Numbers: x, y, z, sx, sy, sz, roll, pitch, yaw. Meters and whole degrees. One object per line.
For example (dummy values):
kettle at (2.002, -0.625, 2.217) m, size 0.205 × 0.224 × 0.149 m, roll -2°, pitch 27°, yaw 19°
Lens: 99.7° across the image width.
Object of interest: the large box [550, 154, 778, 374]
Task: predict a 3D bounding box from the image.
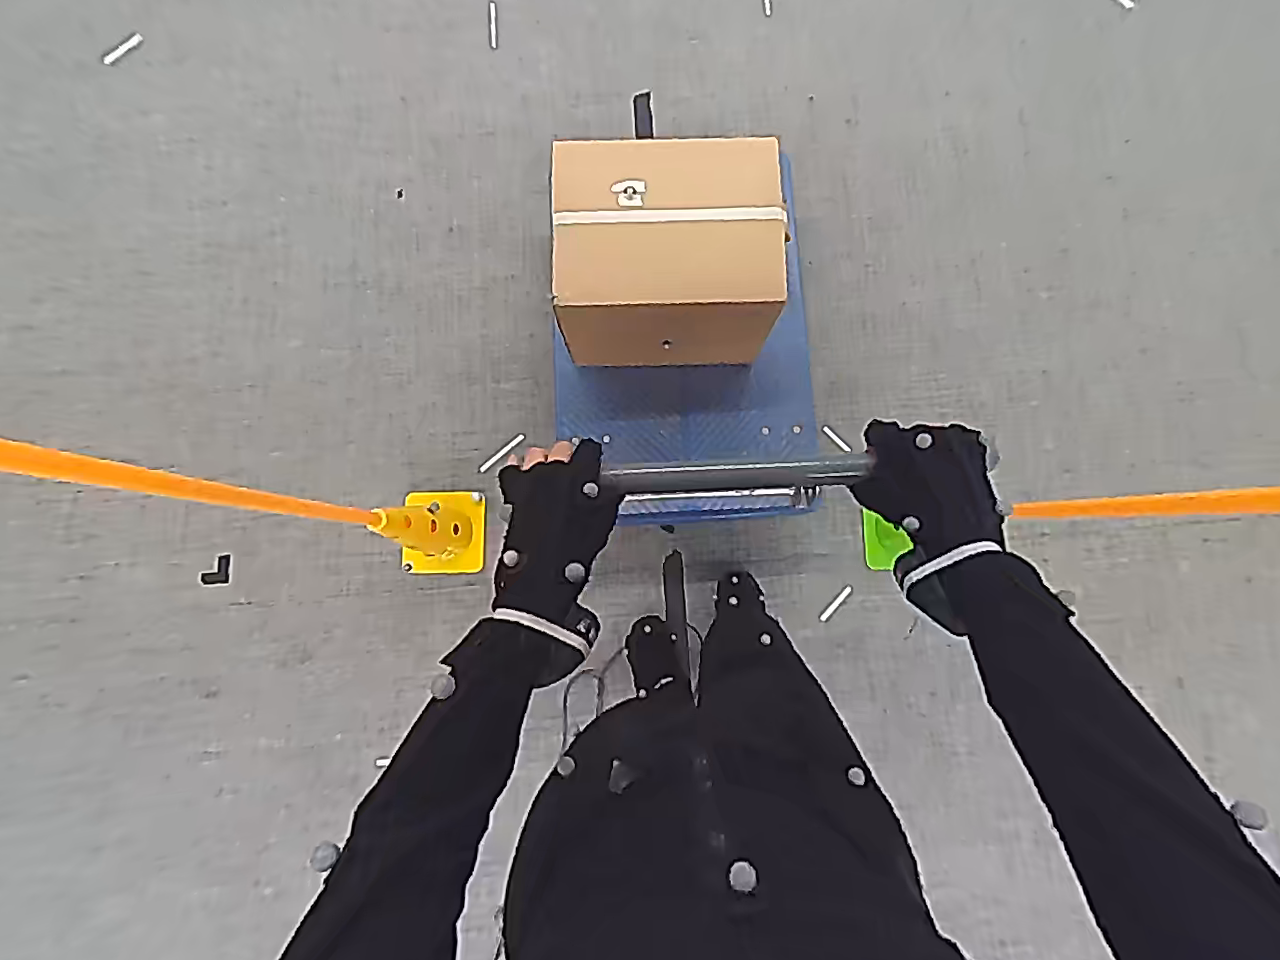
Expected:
large box at (0.044, -0.415, 1.110) m, size 0.408 × 0.320 × 0.320 m, roll -1°, pitch 82°, yaw 1°

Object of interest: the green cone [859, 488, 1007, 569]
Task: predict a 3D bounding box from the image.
green cone at (0.646, 0.091, 1.164) m, size 0.202 × 0.368 × 0.200 m, roll 0°, pitch 81°, yaw 0°
